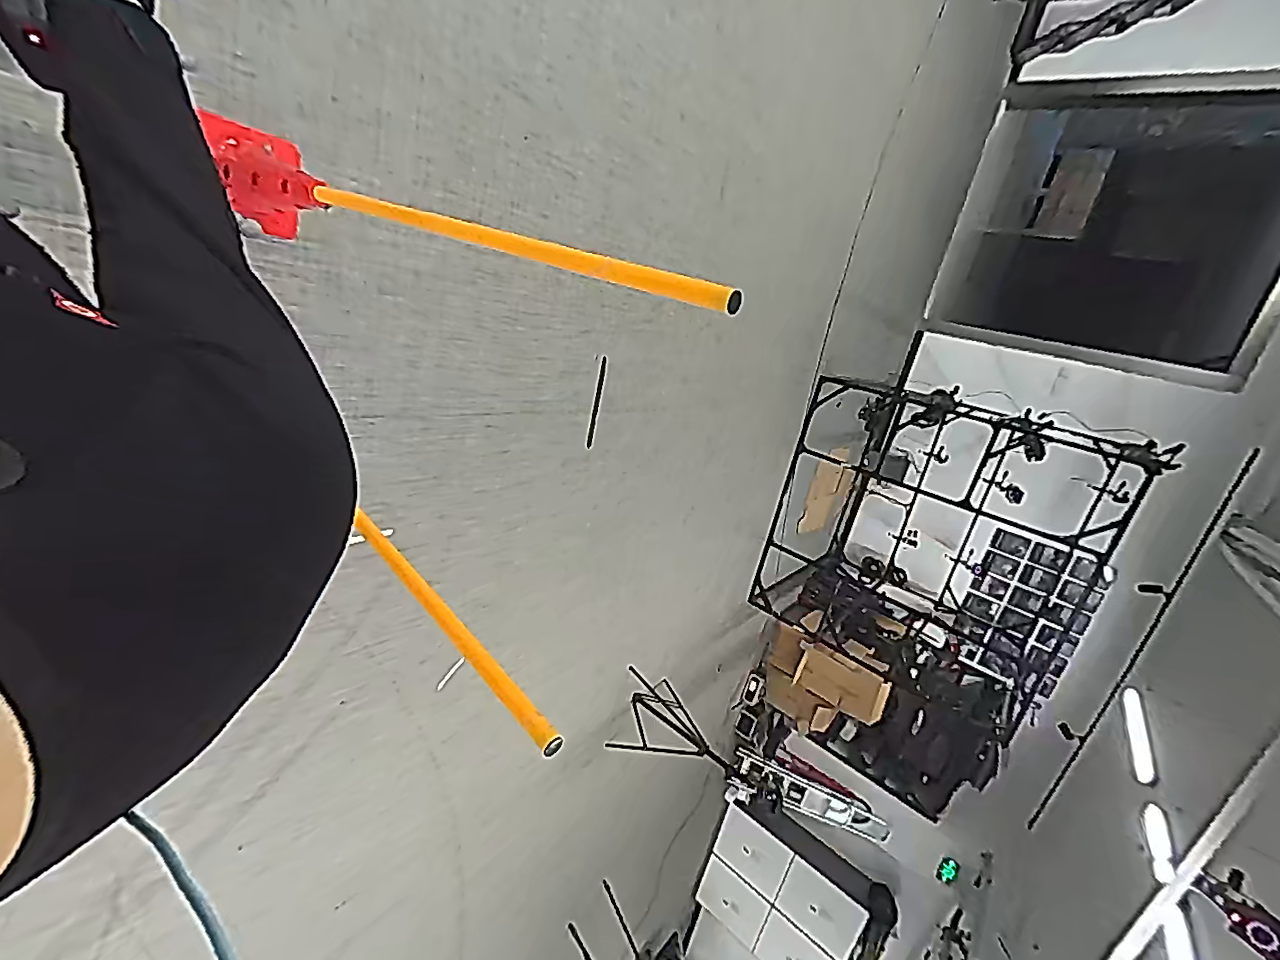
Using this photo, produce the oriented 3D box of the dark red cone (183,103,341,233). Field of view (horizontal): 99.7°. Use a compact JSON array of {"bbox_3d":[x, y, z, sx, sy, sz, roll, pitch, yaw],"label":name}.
[{"bbox_3d":[-0.686,-0.577,1.030,0.201,0.394,0.202,-11,121,-54],"label":"dark red cone"}]
